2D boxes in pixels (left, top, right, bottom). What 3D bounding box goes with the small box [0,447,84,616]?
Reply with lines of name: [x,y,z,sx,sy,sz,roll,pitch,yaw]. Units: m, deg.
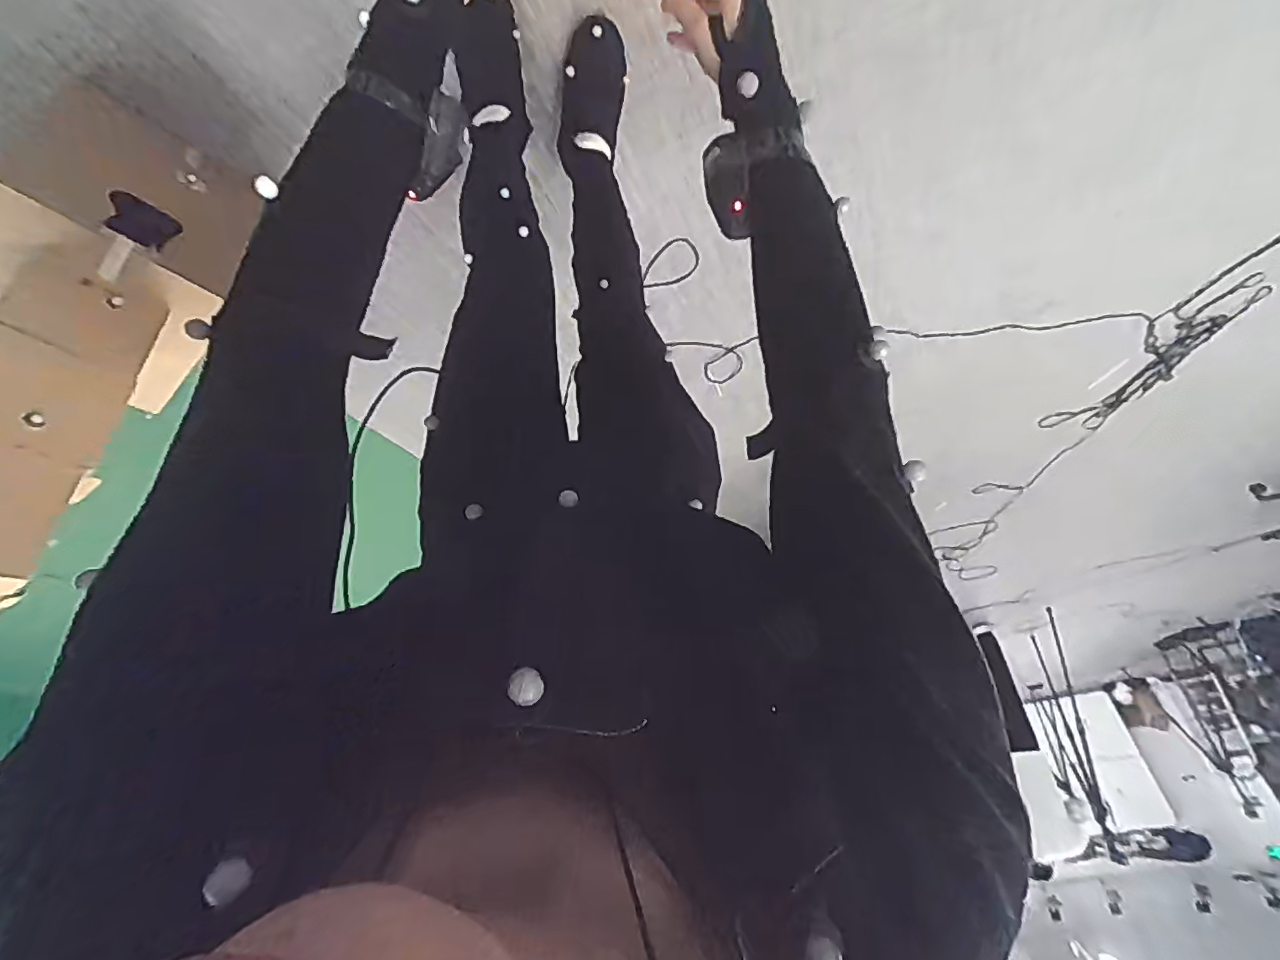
small box: [-0.857,0.053,0.673,0.168,0.176,0.179,-27,144,25]

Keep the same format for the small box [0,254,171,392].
small box: [-0.897,-0.213,0.860,0.179,0.176,0.168,-27,143,26]

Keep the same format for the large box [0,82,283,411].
large box: [-0.945,-0.403,1.008,0.408,0.320,0.320,-28,141,29]

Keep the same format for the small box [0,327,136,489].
small box: [-0.872,-0.084,0.762,0.168,0.176,0.179,-25,144,24]
